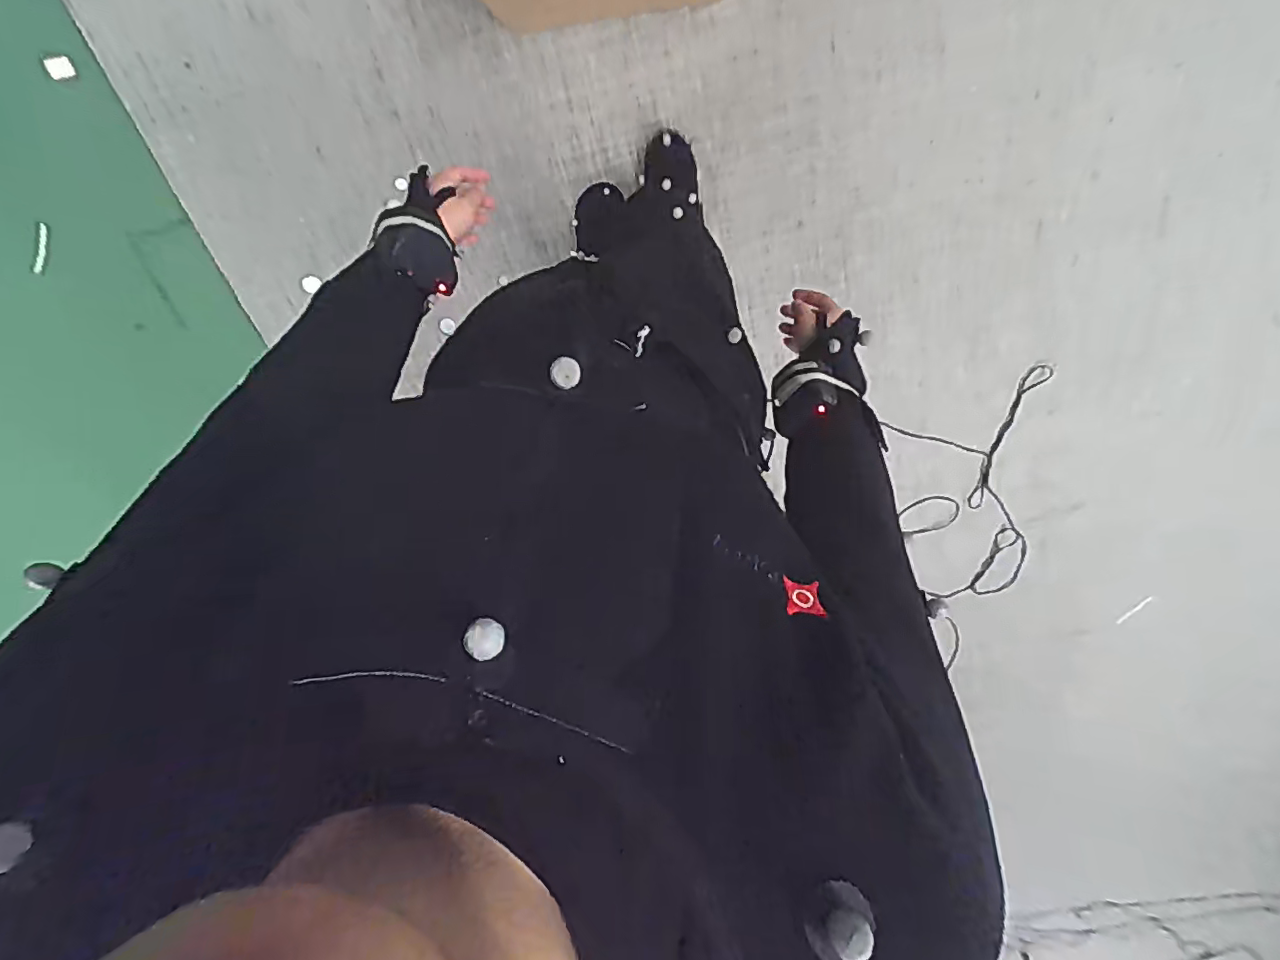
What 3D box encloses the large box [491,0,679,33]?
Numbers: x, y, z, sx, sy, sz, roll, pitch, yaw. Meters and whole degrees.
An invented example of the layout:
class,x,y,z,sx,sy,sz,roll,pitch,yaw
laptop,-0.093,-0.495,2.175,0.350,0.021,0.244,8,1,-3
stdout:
class,x,y,z,sx,sy,sz,roll,pitch,yaw
large box,-0.057,-0.899,0.774,0.408,0.320,0.320,-9,121,2
